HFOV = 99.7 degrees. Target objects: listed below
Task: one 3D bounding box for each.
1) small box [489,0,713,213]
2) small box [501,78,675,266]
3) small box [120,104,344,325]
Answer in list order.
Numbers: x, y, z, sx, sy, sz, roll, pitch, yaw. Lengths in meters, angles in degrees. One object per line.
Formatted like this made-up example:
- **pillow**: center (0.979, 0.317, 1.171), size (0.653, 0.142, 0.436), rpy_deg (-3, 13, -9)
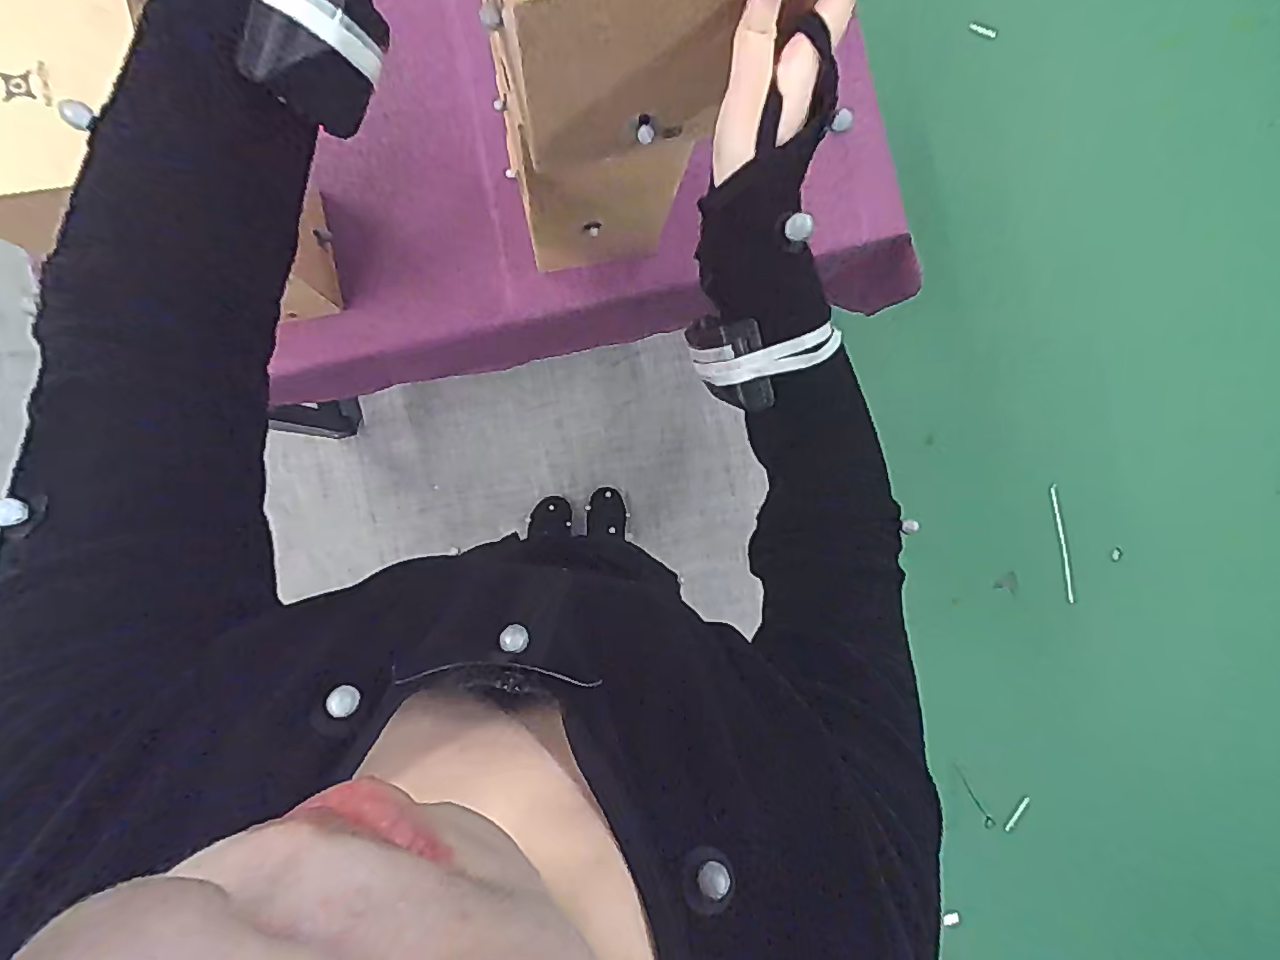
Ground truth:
- **small box**: center (-0.045, -0.395, 0.541), size (0.179, 0.176, 0.168), rpy_deg (-13, 93, -5)
- **small box**: center (-0.066, -0.397, 0.702), size (0.179, 0.176, 0.168), rpy_deg (-12, 92, -6)
- **small box**: center (-0.490, -0.307, 0.656), size (0.168, 0.176, 0.179), rpy_deg (-11, 91, -6)
